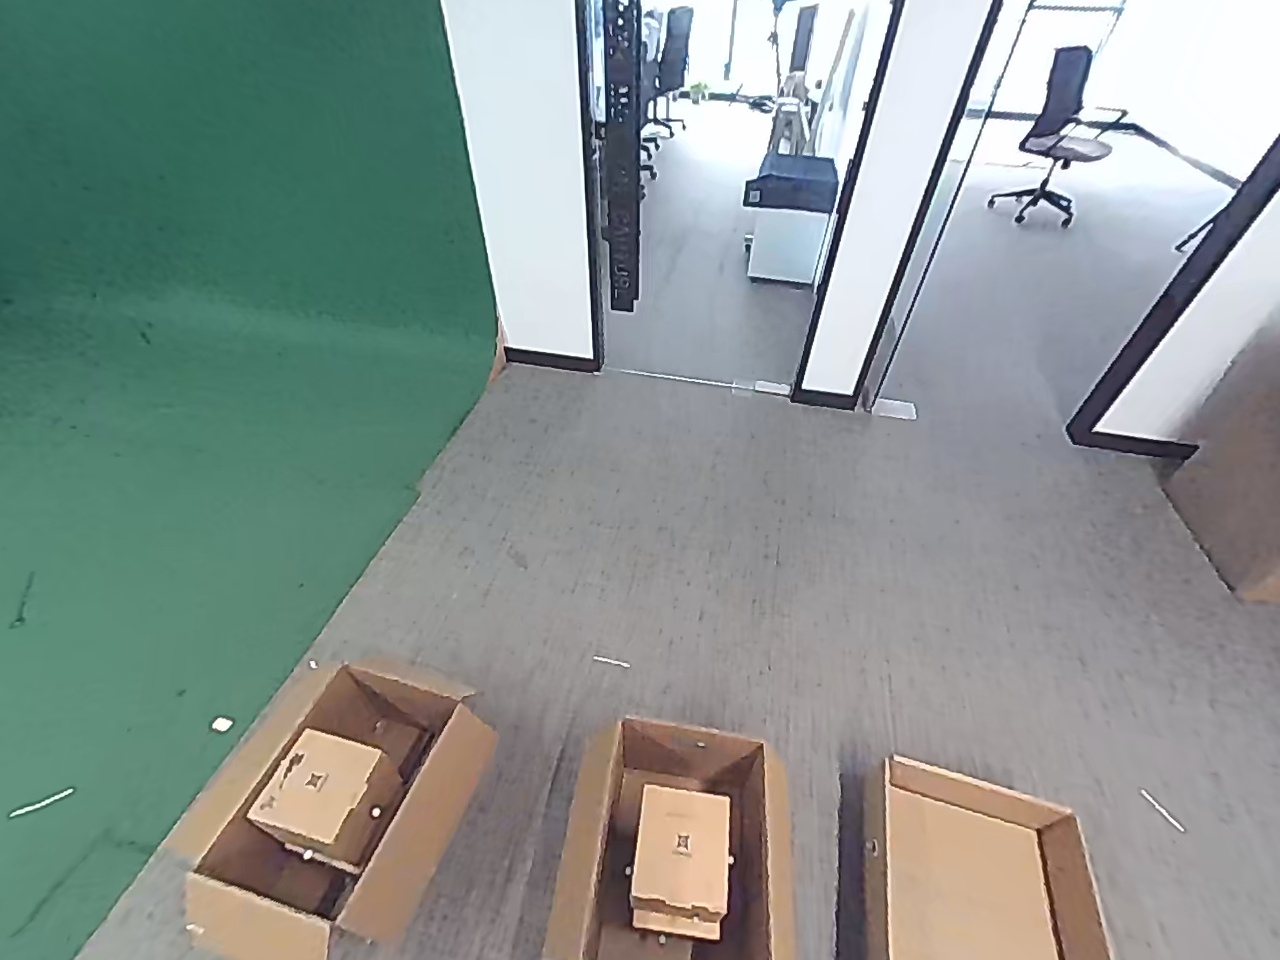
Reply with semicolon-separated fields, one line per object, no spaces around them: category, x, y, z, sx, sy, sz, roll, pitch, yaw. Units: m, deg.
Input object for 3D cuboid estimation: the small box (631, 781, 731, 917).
small box;0.077;0.700;1.023;0.168;0.176;0.179;7;46;4
